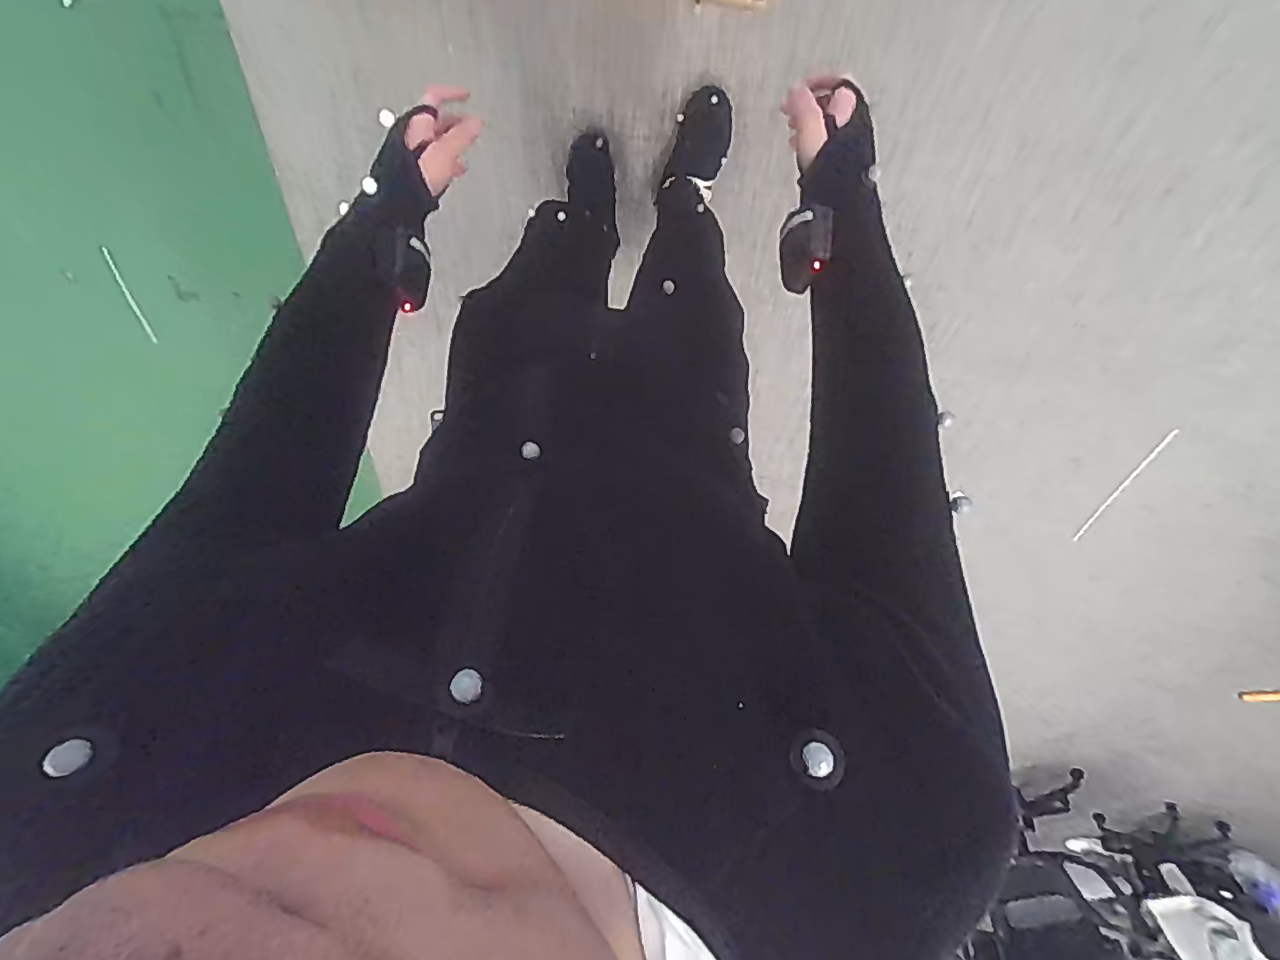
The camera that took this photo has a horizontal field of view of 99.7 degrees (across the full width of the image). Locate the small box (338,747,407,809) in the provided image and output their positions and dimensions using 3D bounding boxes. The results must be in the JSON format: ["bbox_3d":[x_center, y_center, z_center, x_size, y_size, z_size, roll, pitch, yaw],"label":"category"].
[{"bbox_3d":[-1.031,1.149,2.105,0.168,0.176,0.179,9,133,2],"label":"small box"}]

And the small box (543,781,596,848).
[{"bbox_3d":[-0.267,1.270,2.057,0.168,0.176,0.179,8,133,4],"label":"small box"}]
